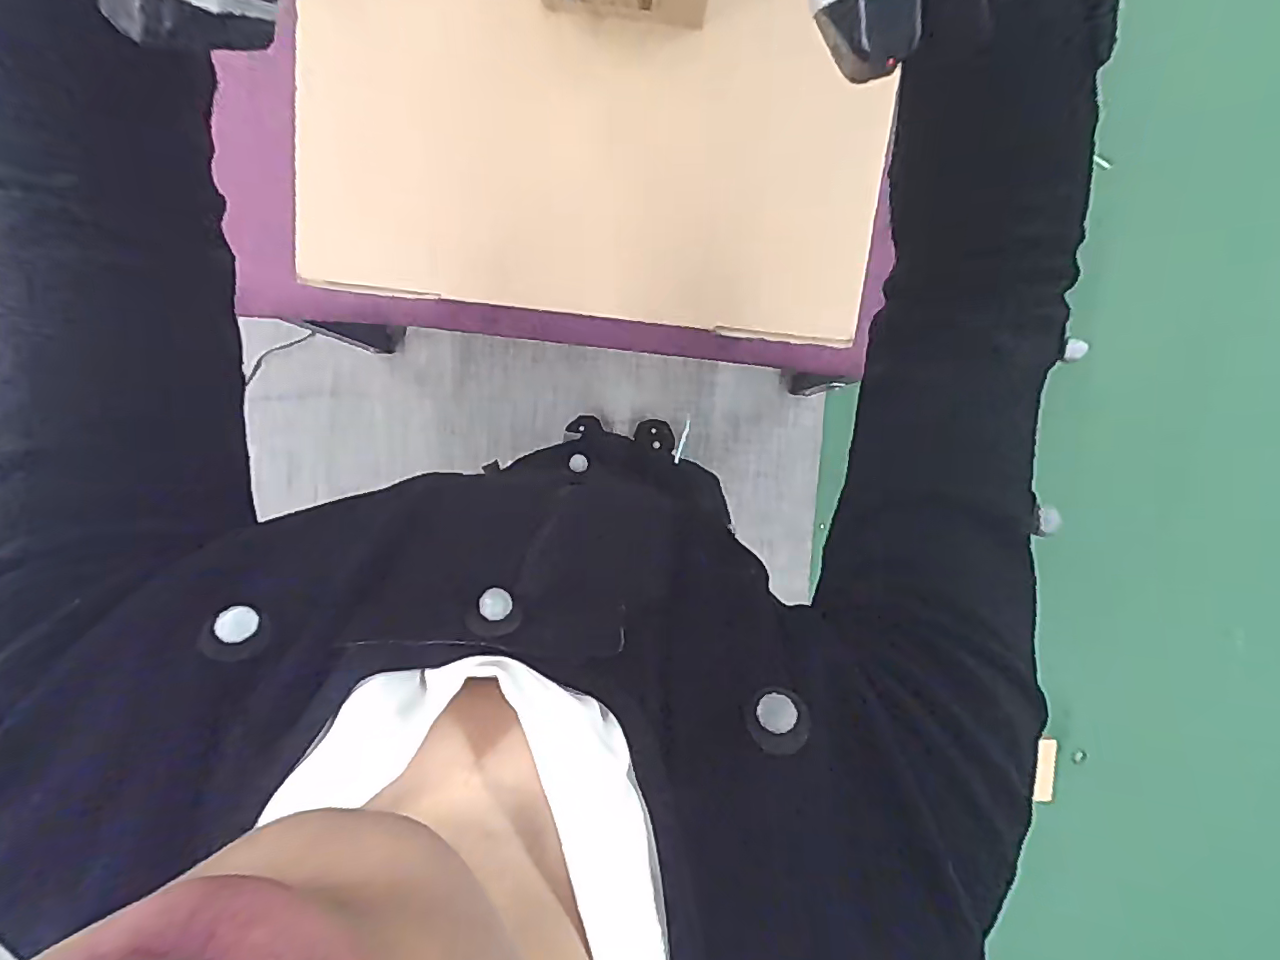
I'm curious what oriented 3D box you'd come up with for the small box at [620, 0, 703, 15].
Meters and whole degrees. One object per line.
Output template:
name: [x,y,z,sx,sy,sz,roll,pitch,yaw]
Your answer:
small box: [-0.007,-0.552,0.459,0.168,0.176,0.179,6,91,-2]
